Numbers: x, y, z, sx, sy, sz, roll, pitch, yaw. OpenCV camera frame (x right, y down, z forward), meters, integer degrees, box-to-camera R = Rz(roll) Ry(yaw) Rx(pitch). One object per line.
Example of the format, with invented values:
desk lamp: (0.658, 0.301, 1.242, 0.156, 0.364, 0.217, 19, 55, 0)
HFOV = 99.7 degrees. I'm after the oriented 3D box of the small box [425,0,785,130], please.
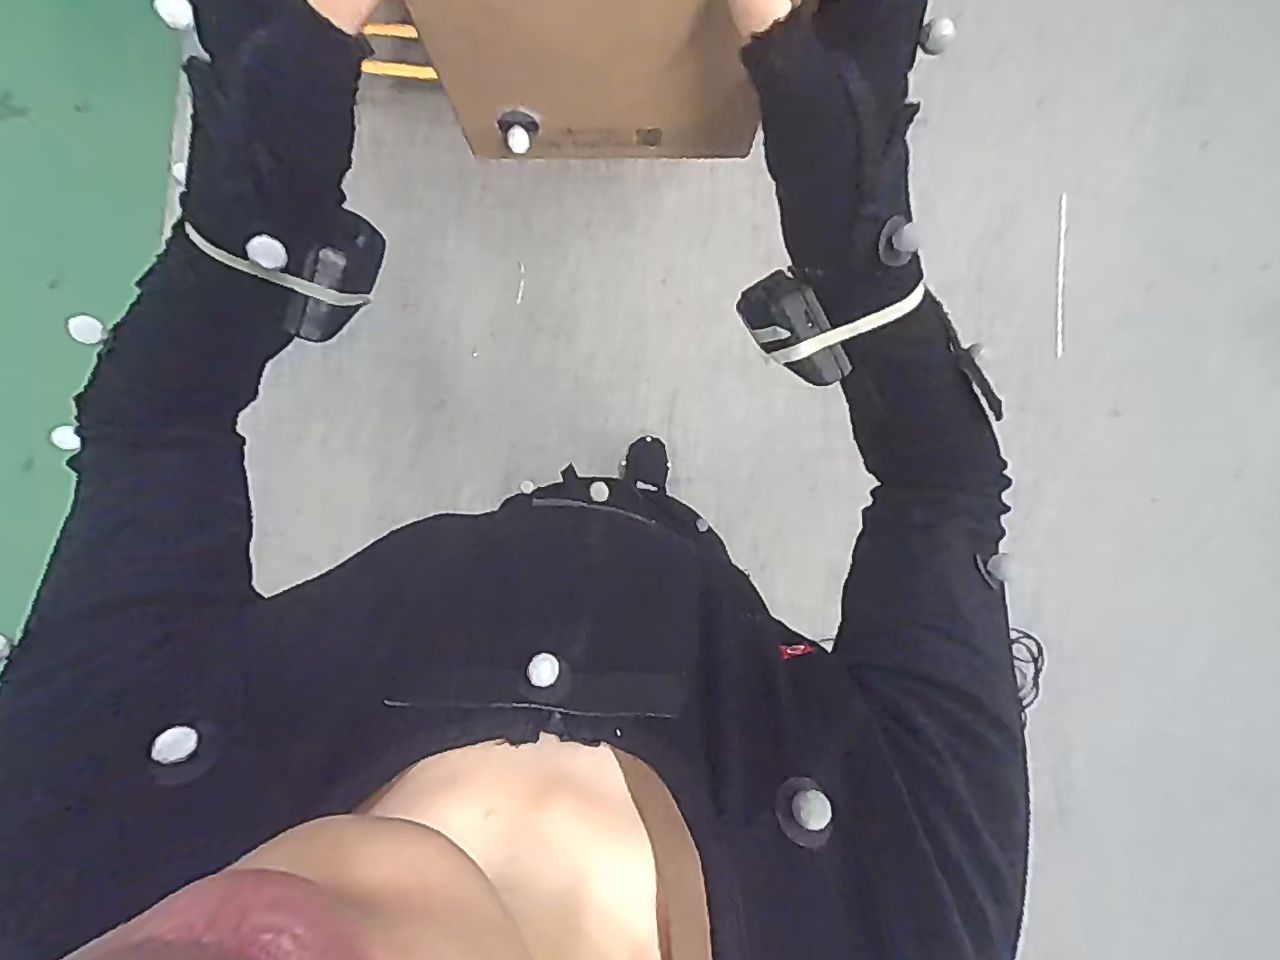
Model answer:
small box: (-0.015, -0.291, 0.240, 0.168, 0.176, 0.179, -1, 86, -1)
